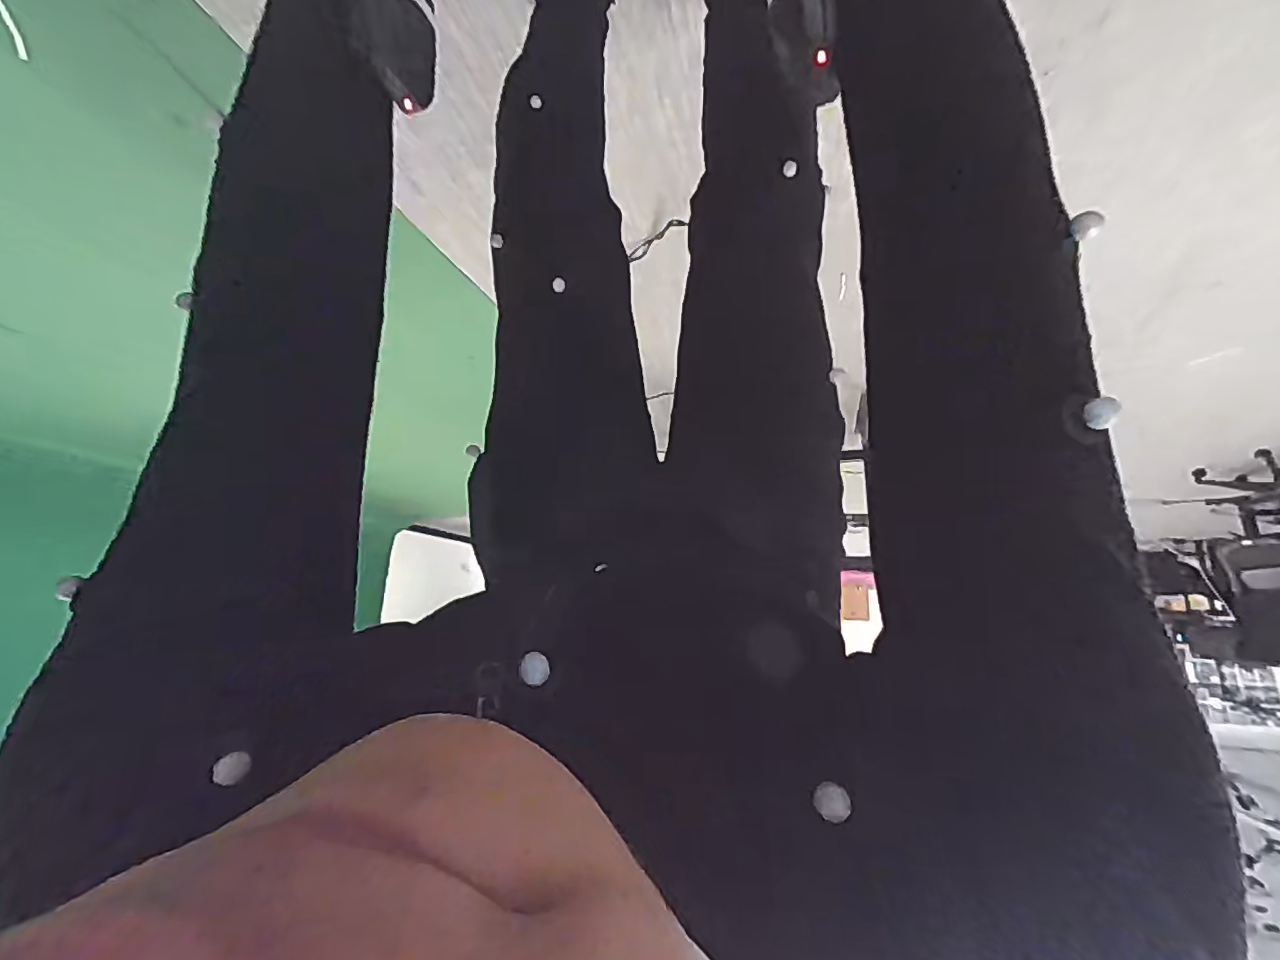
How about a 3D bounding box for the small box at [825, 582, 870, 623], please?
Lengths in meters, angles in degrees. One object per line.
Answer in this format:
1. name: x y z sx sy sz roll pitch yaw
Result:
1. small box: 0.912 0.541 2.390 0.168 0.176 0.179 -1 165 15
